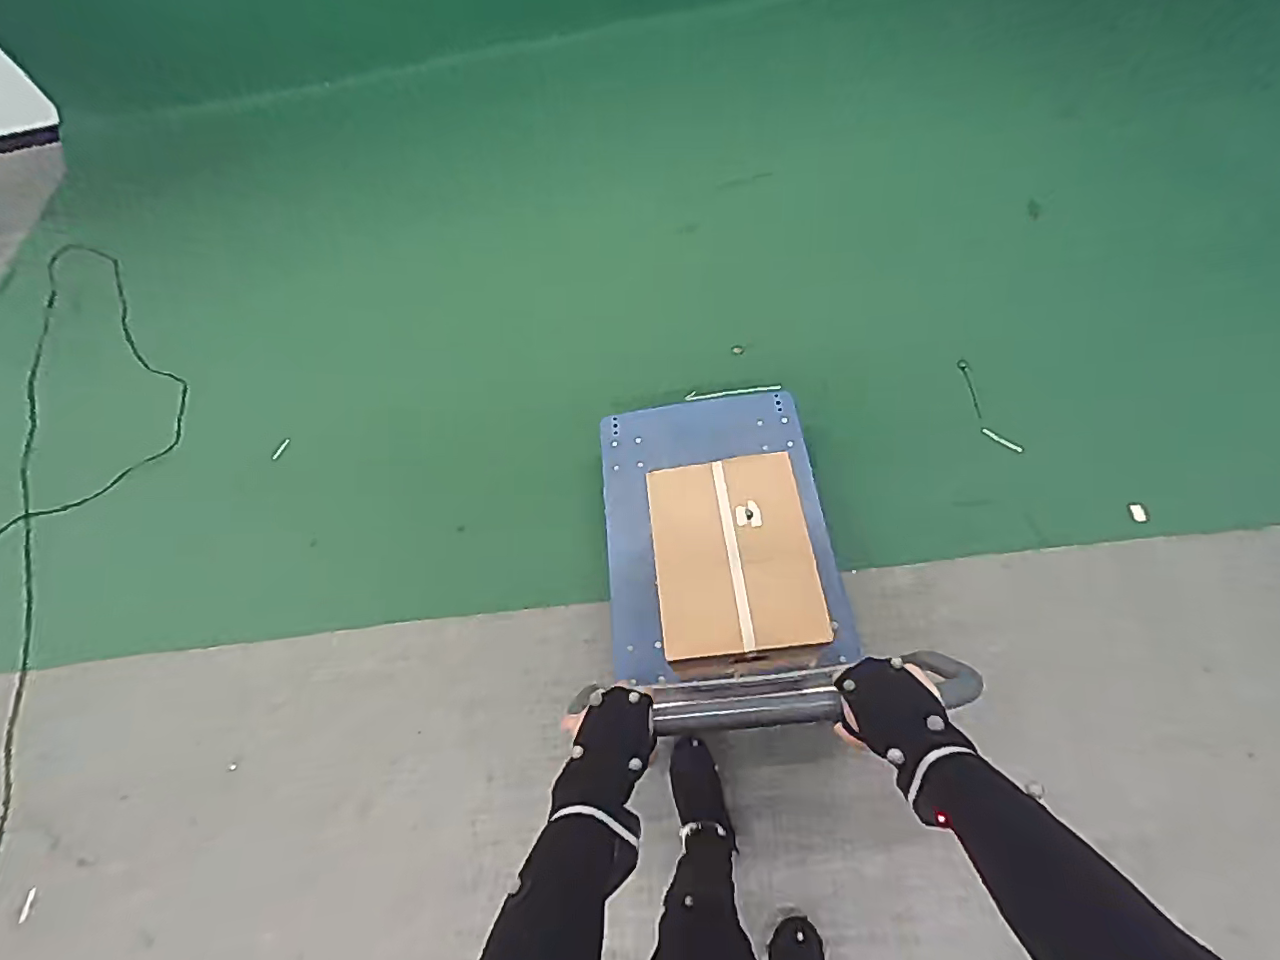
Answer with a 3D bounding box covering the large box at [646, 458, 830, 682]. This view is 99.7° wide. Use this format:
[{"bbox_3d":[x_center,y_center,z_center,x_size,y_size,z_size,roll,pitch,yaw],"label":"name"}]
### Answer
[{"bbox_3d":[0.205,0.215,1.230,0.320,0.320,0.408,-8,62,5],"label":"large box"}]
